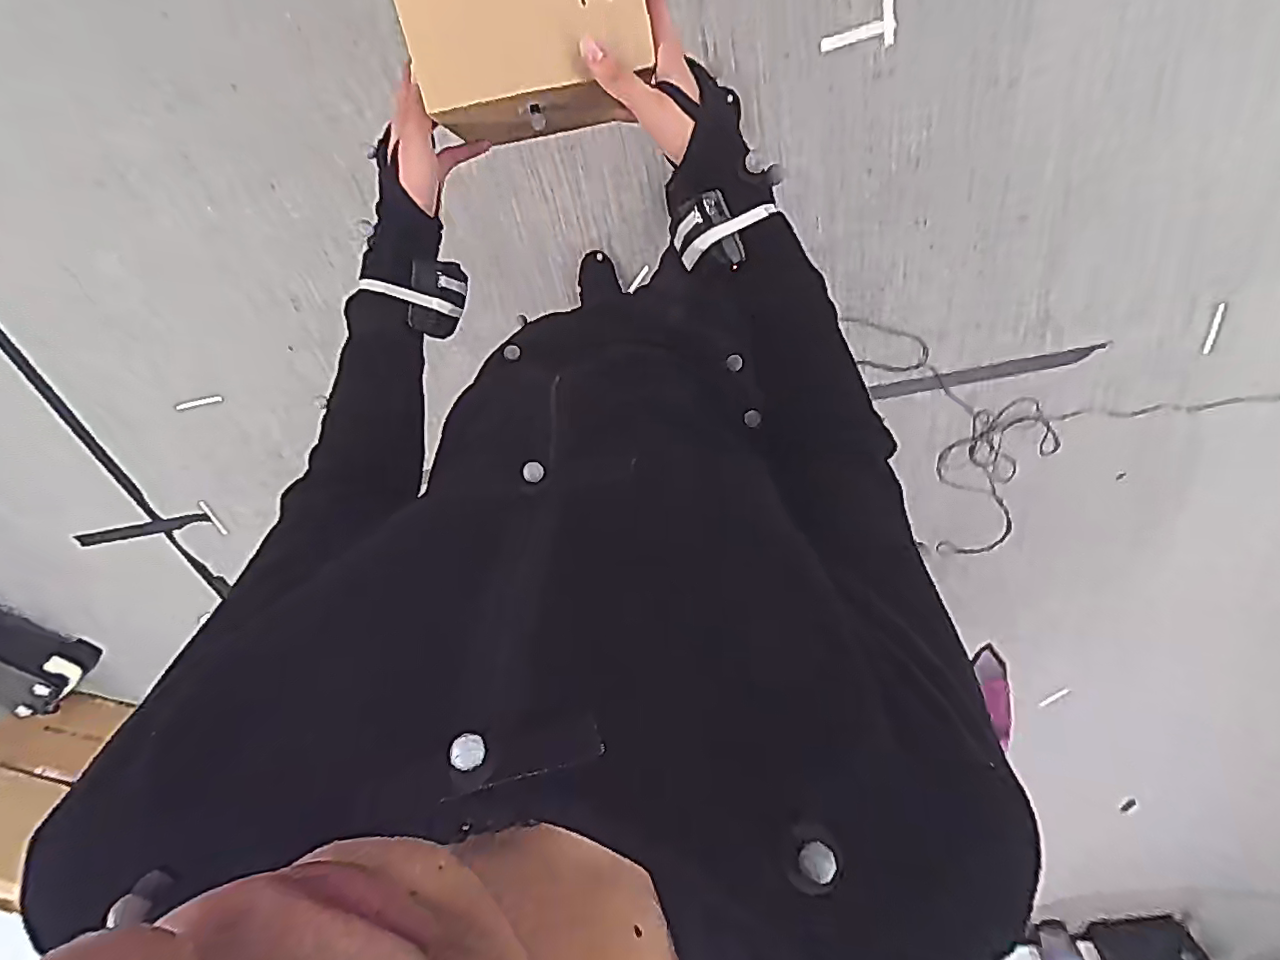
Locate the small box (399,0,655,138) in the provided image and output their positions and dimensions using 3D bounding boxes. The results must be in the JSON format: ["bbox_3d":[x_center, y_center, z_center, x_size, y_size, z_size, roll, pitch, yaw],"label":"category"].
[{"bbox_3d":[-0.091,-0.398,0.439,0.179,0.176,0.168,-12,114,0],"label":"small box"}]
